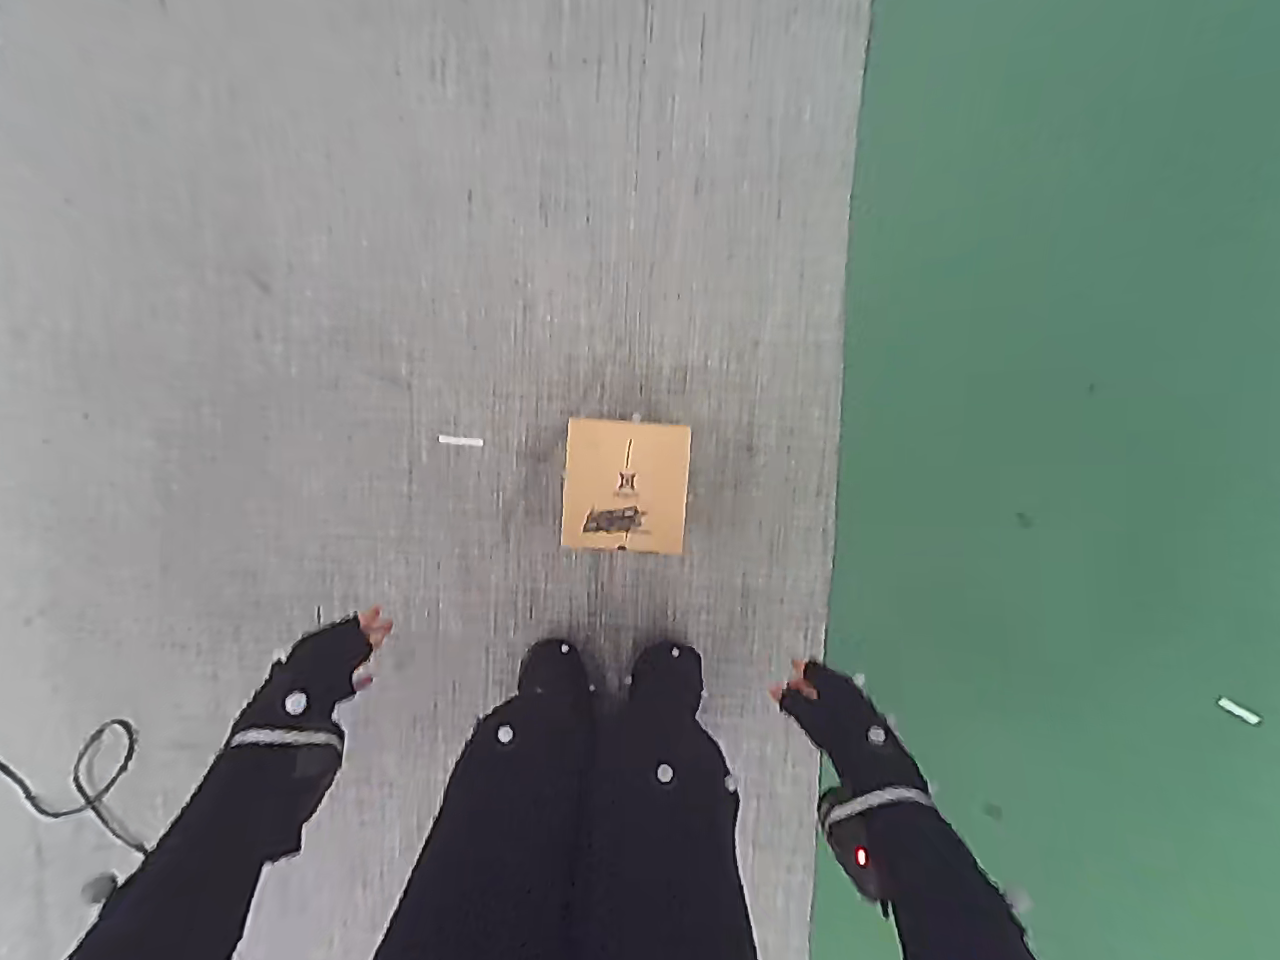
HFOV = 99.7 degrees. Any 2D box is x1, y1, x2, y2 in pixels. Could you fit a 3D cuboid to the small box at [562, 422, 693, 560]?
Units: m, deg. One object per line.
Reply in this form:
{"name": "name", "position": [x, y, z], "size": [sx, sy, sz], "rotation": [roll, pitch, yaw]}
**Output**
{"name": "small box", "position": [-0.016, 0.010, 0.802], "size": [0.168, 0.176, 0.179], "rotation": [4, 93, 0]}
